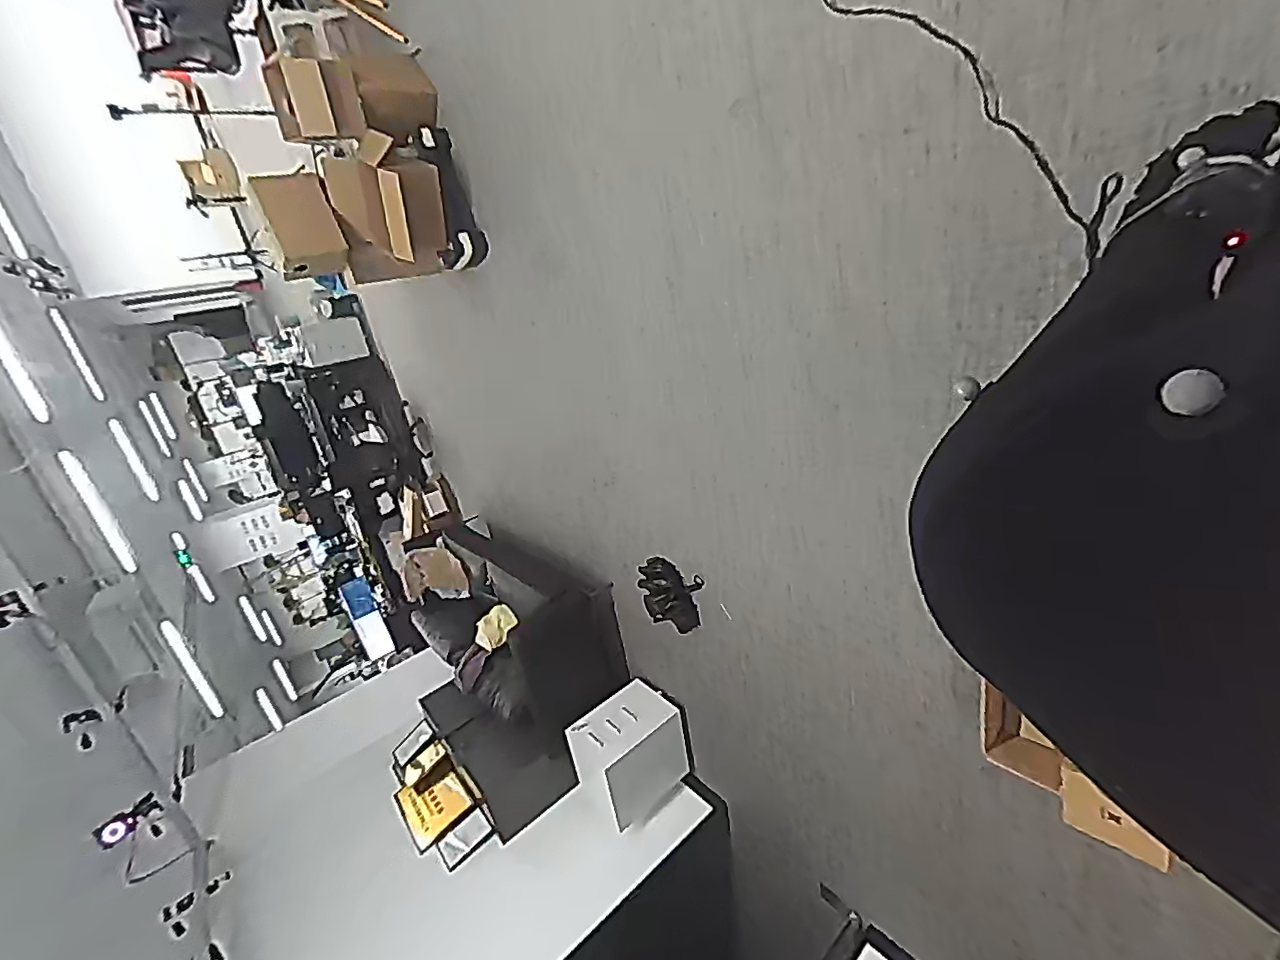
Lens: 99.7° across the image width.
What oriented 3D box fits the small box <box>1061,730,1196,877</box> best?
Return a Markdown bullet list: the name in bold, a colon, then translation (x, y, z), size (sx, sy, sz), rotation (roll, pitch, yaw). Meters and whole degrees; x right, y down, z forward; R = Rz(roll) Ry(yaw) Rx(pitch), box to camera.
- **small box**: translation (1.023, 0.660, 1.133), size (0.179, 0.176, 0.168), rotation (4, 115, 55)
